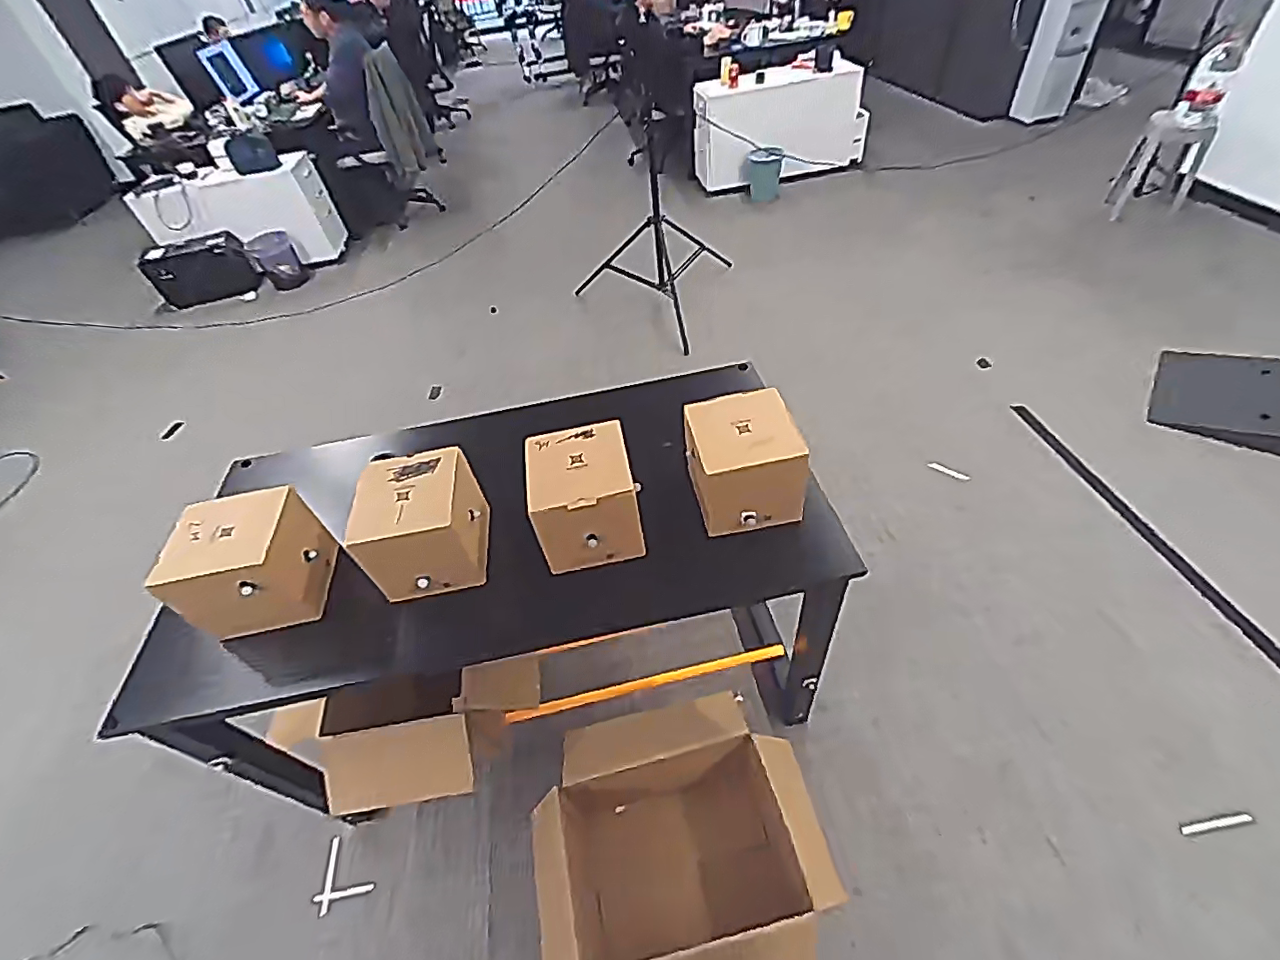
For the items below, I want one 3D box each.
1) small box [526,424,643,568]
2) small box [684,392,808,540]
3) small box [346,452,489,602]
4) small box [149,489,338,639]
[{"bbox_3d":[-0.094,0.035,0.931,0.168,0.176,0.179,-11,47,-2],"label":"small box"},{"bbox_3d":[0.177,-0.024,0.944,0.168,0.176,0.179,-12,47,0],"label":"small box"},{"bbox_3d":[-0.366,0.082,0.927,0.168,0.176,0.179,-11,47,-1],"label":"small box"},{"bbox_3d":[-0.644,0.143,0.909,0.179,0.176,0.168,-12,46,-3],"label":"small box"}]
